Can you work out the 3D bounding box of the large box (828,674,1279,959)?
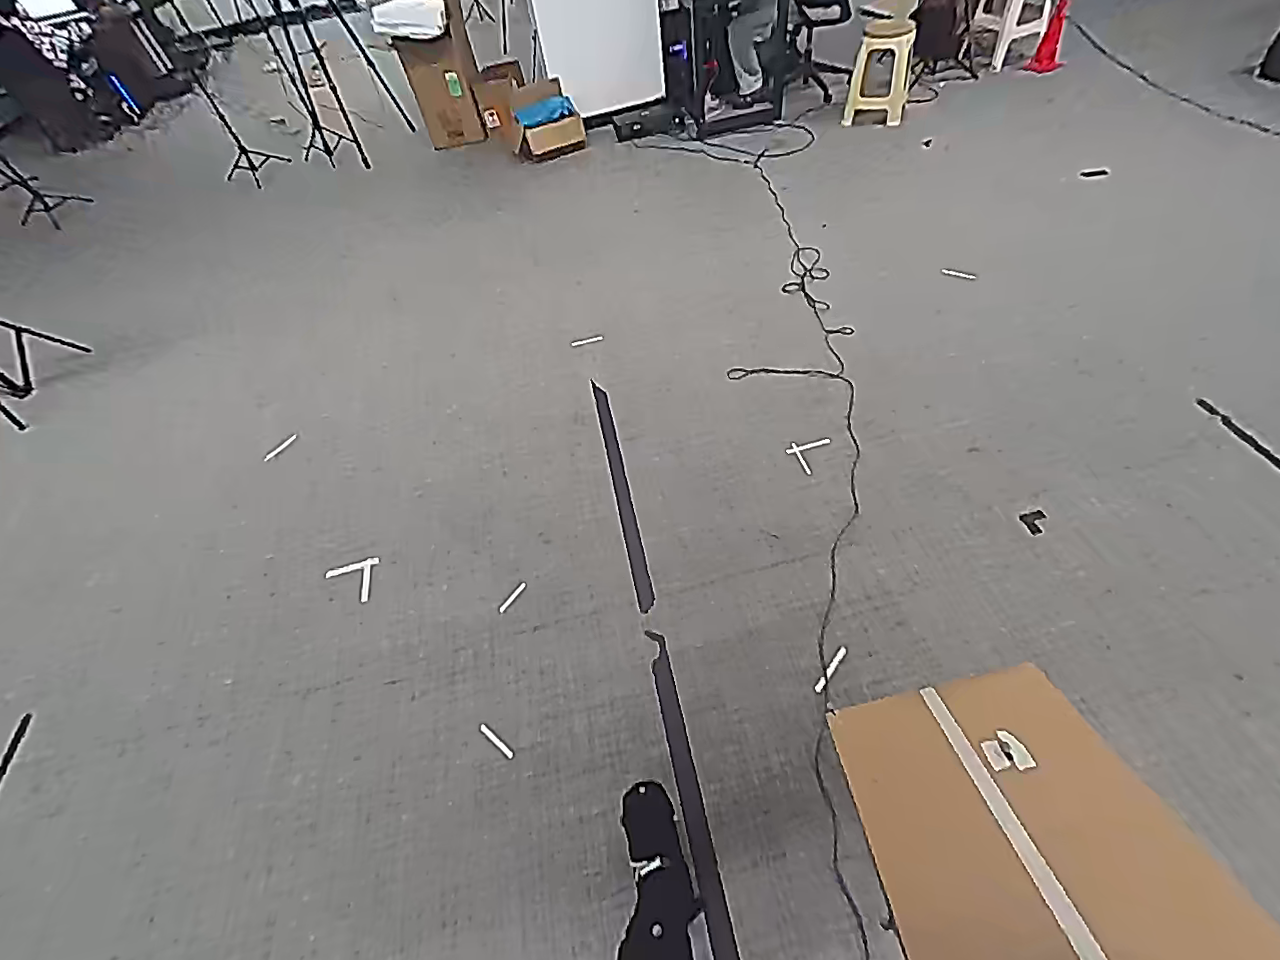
[{"bbox_3d":[0.484,0.536,0.696,0.320,0.320,0.408,-17,16,10],"label":"large box"}]
